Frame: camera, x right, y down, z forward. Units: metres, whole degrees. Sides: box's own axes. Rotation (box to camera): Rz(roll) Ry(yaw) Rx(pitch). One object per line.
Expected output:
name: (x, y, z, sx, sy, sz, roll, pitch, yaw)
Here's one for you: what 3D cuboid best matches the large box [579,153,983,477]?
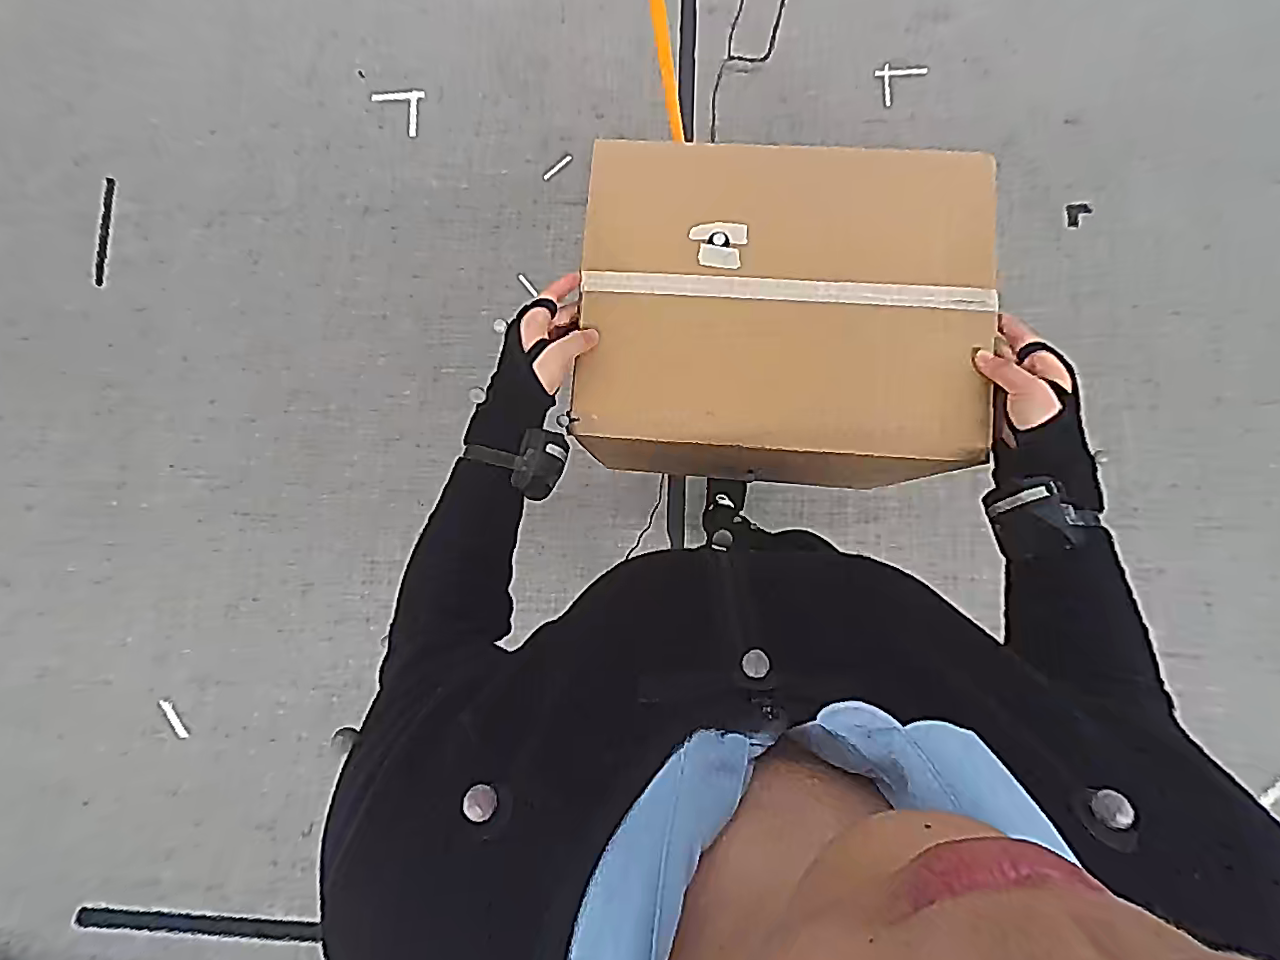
large box: (0.154, -0.176, 0.700, 0.408, 0.320, 0.320, 3, 83, 4)
